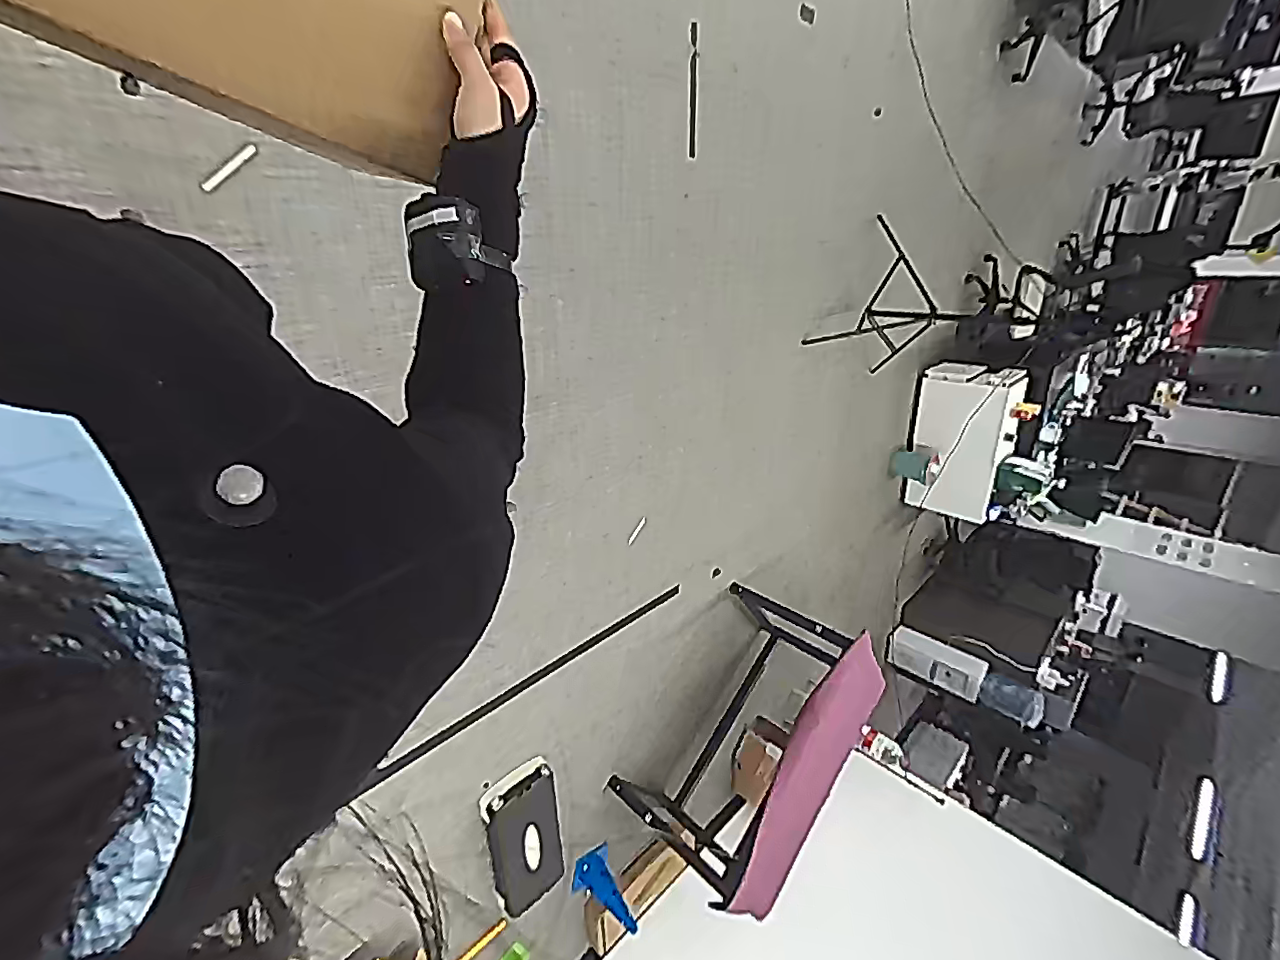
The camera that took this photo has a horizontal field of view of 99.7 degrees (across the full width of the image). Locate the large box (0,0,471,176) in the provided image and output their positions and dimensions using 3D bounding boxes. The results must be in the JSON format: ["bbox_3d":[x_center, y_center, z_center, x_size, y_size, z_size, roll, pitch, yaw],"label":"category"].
[{"bbox_3d":[-0.360,-0.474,0.397,0.408,0.320,0.320,5,112,-42],"label":"large box"}]
